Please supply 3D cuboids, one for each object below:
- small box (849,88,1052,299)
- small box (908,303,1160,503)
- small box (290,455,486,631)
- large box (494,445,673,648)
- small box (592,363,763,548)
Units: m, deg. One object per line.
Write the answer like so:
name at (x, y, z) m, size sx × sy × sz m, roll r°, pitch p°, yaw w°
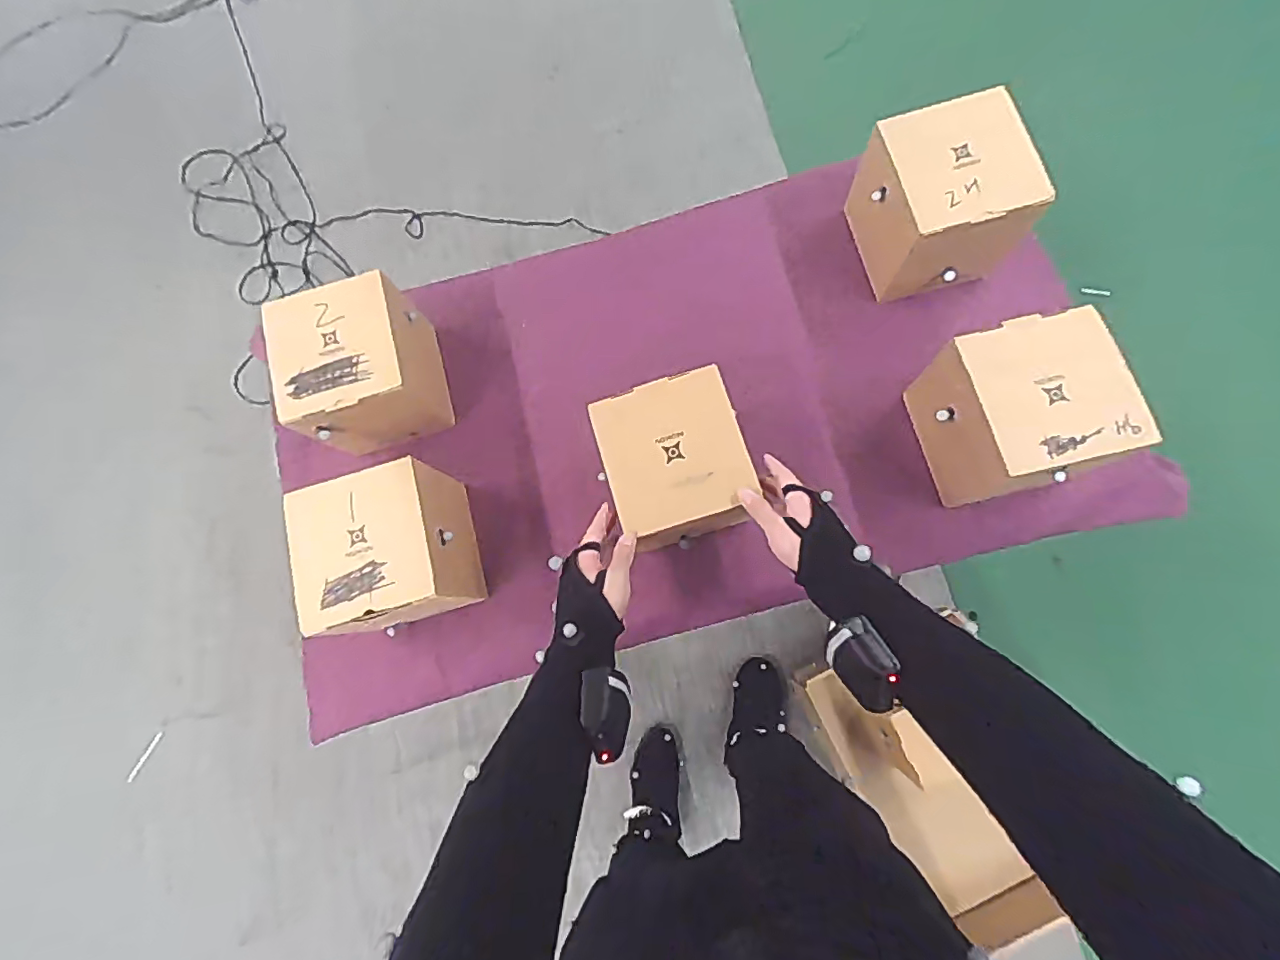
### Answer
small box at (0.411, -0.386, 0.755) m, size 0.168 × 0.176 × 0.179 m, roll -14°, pitch 77°, yaw 4°
small box at (0.469, -0.086, 0.681) m, size 0.168 × 0.176 × 0.179 m, roll -14°, pitch 74°, yaw 4°
small box at (-0.320, 0.089, 0.715) m, size 0.168 × 0.176 × 0.179 m, roll -17°, pitch 75°, yaw 1°
large box at (-0.127, 0.174, 1.360) m, size 0.320 × 0.320 × 0.408 m, roll -17°, pitch 75°, yaw 0°
small box at (0.047, -0.022, 0.708) m, size 0.168 × 0.176 × 0.179 m, roll -17°, pitch 76°, yaw 2°
